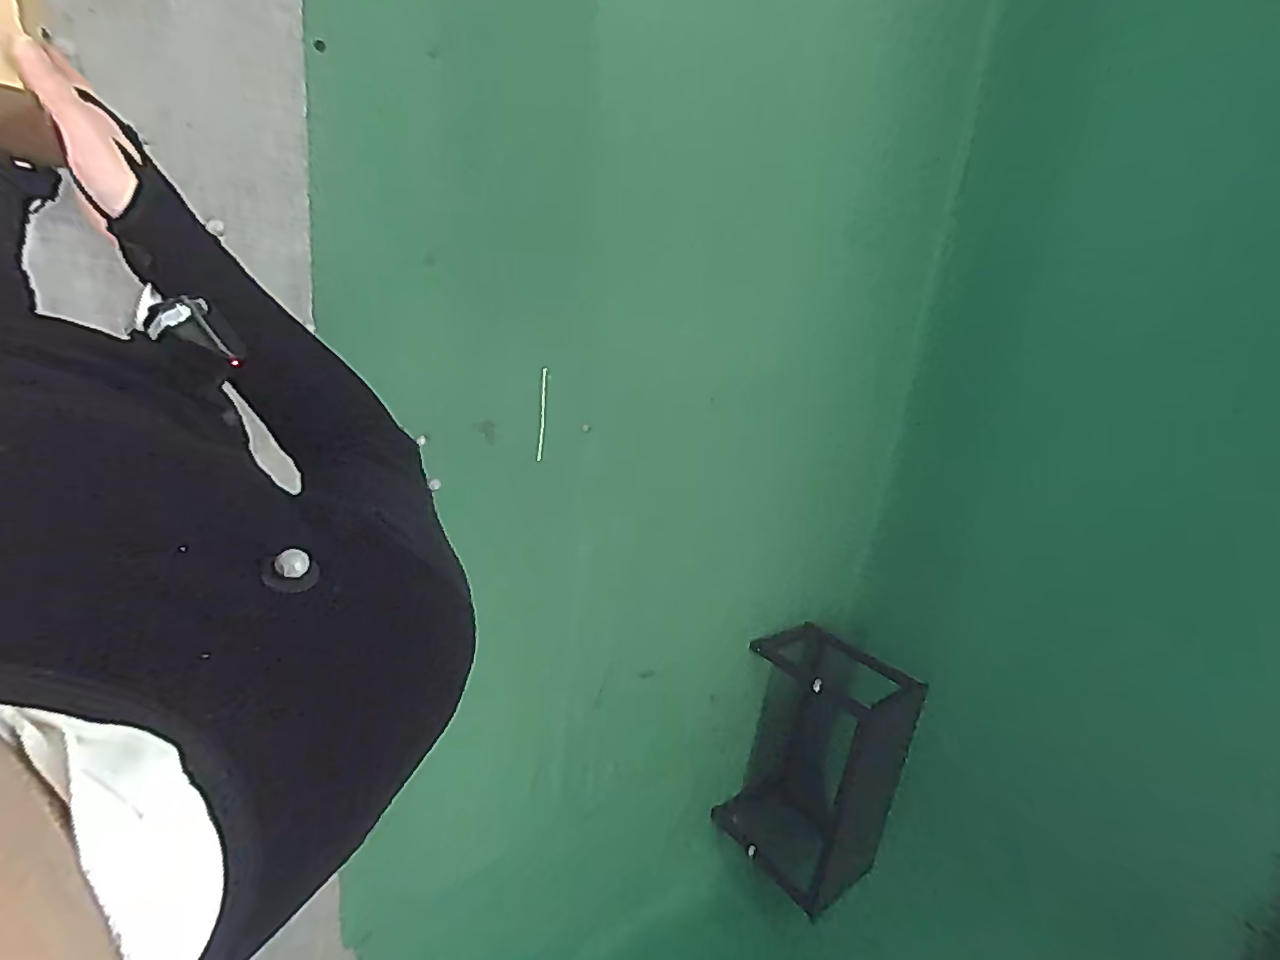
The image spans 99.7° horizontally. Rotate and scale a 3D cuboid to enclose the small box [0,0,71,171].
[{"bbox_3d":[-0.525,-0.345,0.367,0.168,0.176,0.179,-9,103,-40],"label":"small box"}]
